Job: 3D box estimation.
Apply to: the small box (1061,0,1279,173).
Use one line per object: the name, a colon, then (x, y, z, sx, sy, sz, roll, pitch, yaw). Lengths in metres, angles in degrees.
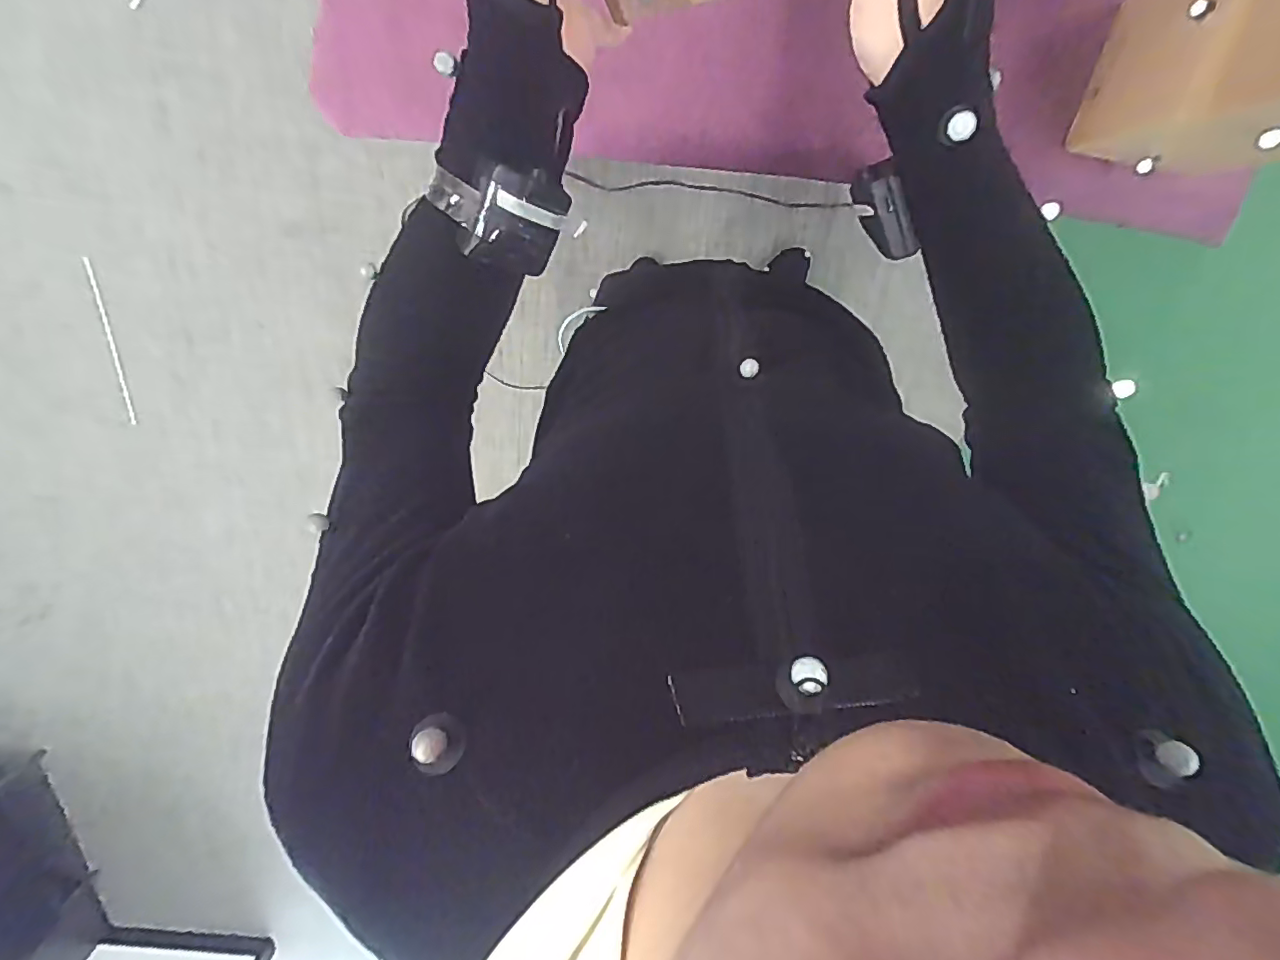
small box: (0.644, -0.460, 0.610, 0.179, 0.176, 0.168, 10, 112, -2)
